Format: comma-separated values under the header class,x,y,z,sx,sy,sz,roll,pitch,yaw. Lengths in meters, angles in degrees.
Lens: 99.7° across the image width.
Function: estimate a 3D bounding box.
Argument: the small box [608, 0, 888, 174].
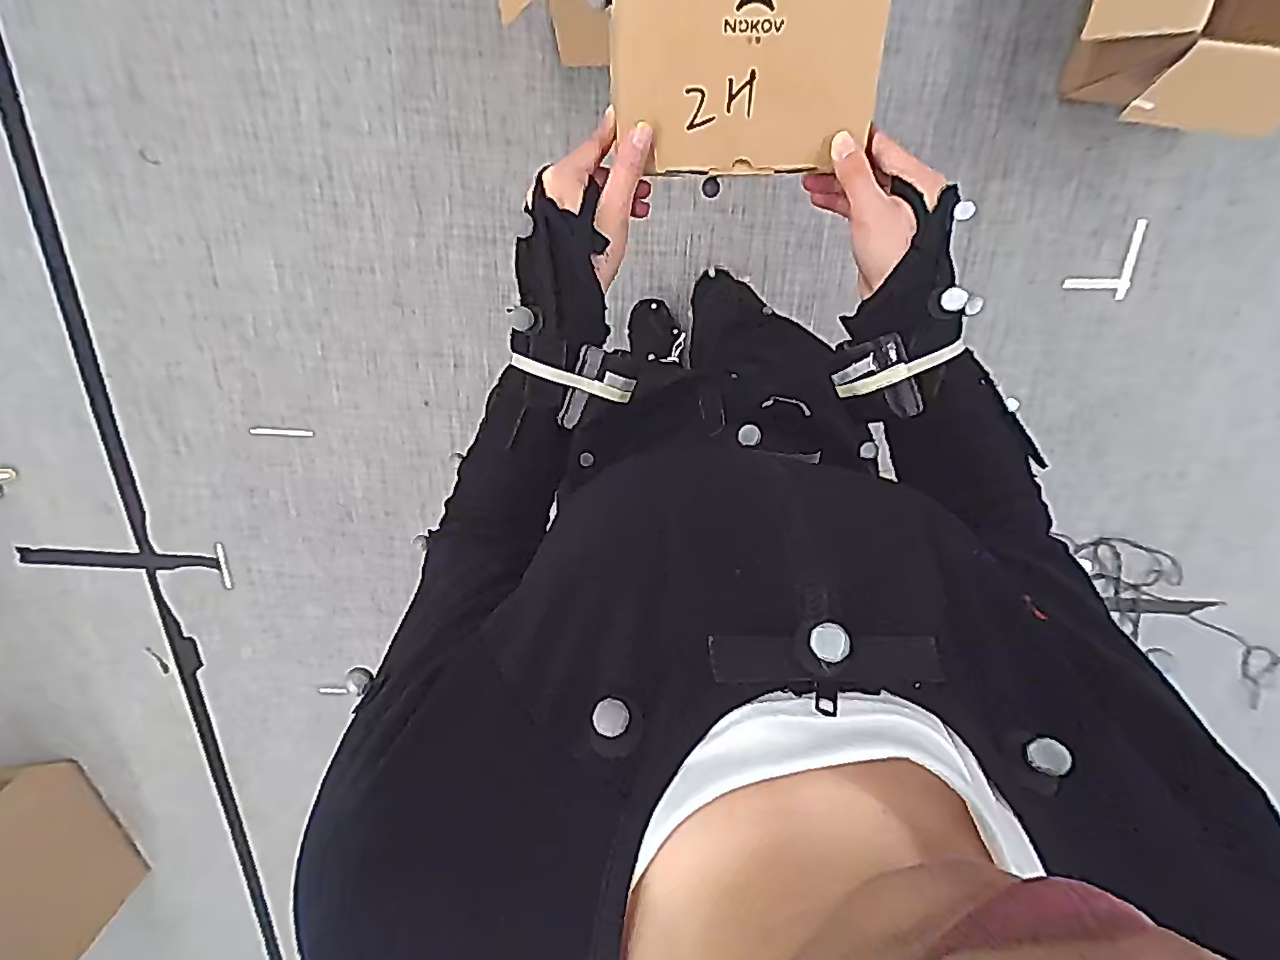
class,x,y,z,sx,sy,sz,roll,pitch,yaw
small box,0.062,-0.324,0.388,0.168,0.176,0.179,-2,119,-2
